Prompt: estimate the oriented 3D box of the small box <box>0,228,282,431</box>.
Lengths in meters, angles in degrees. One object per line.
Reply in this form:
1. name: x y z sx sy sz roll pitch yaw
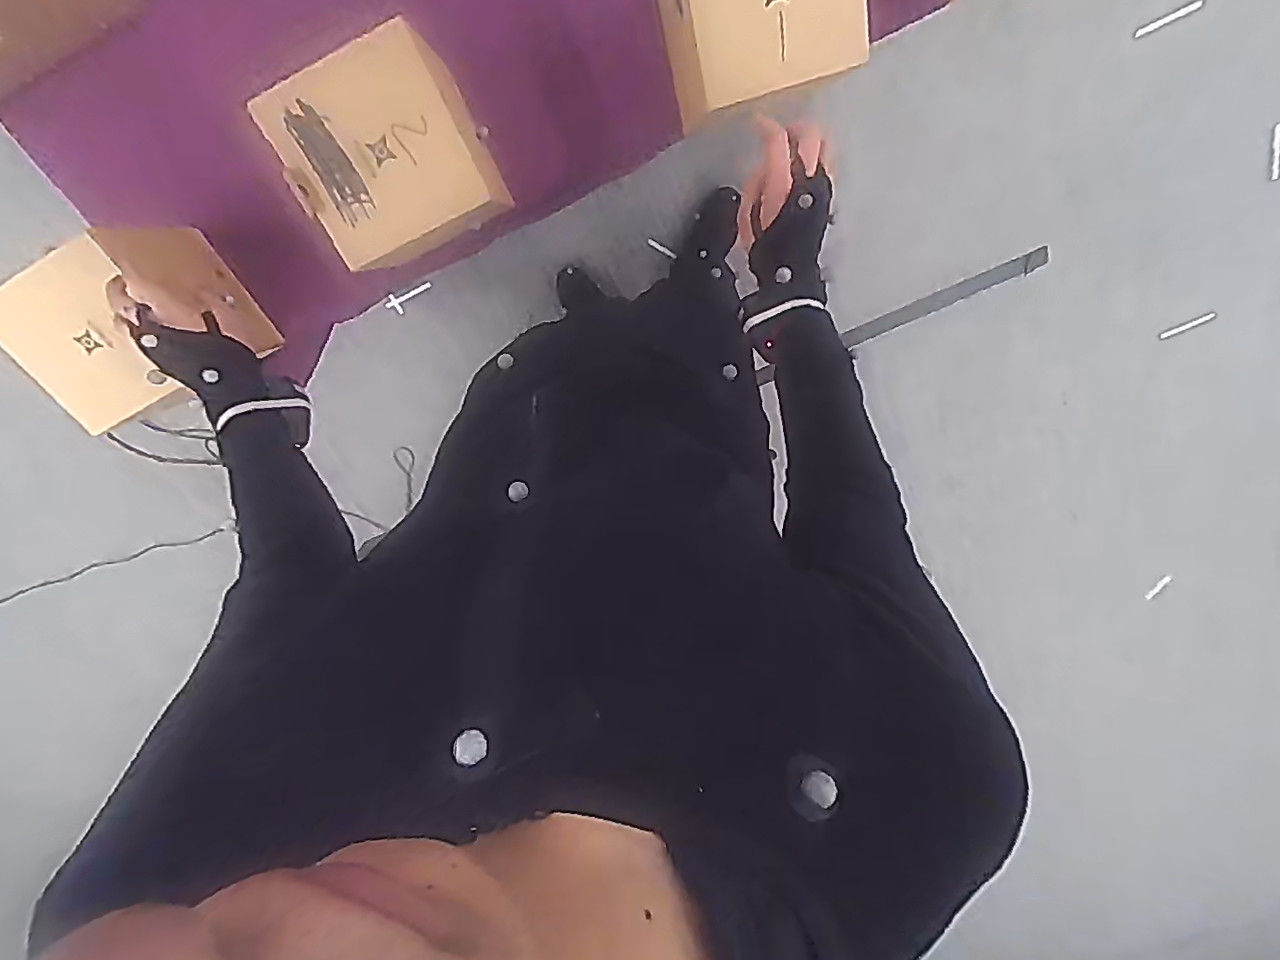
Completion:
1. small box: -0.601 -0.189 0.668 0.179 0.176 0.168 -26 114 7
